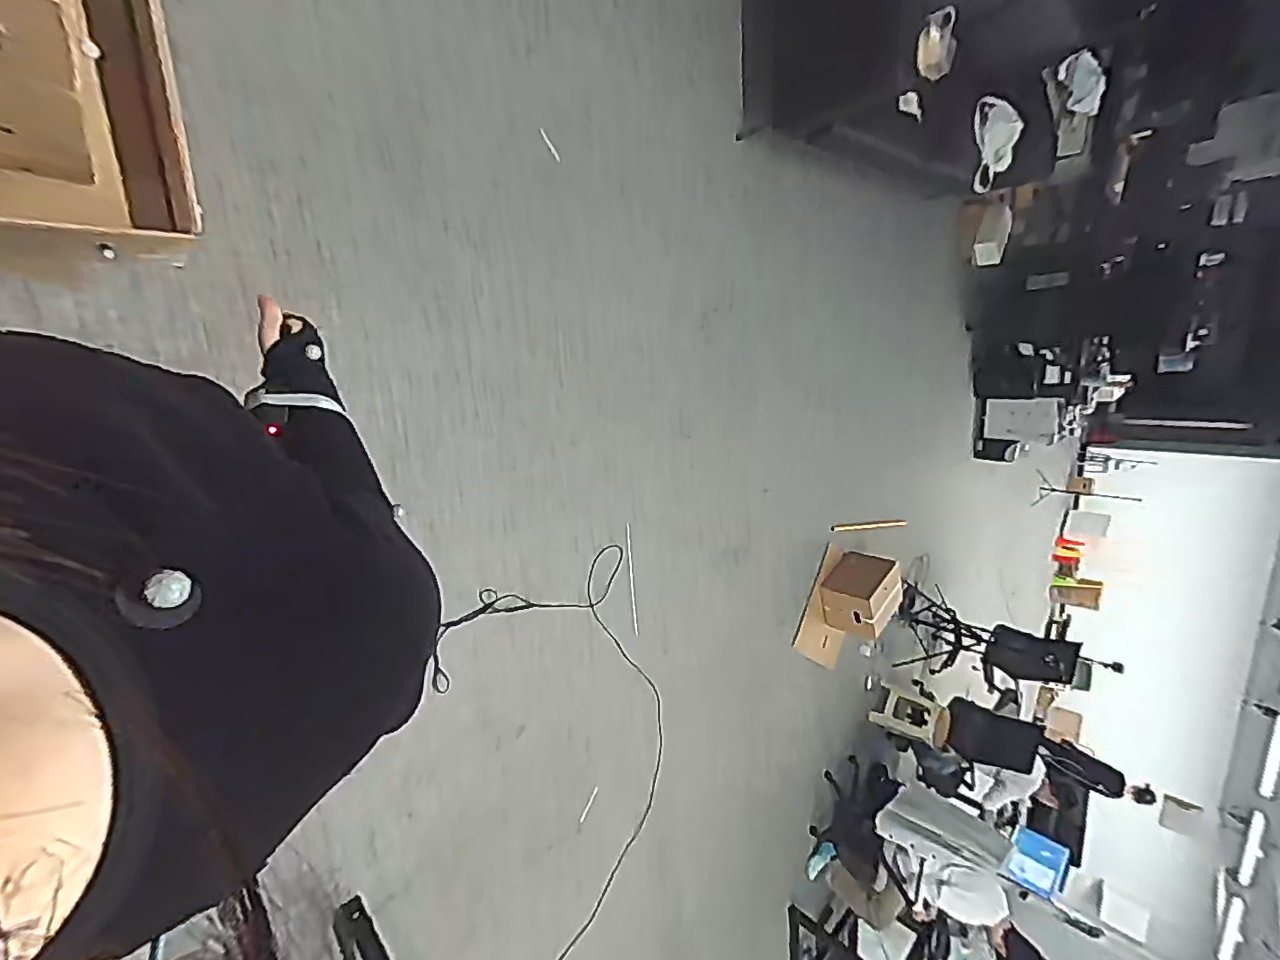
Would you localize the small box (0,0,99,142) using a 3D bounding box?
[{"bbox_3d":[-0.604,-0.435,0.477,0.168,0.176,0.179,-6,102,-43],"label":"small box"}]

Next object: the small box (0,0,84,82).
[{"bbox_3d":[-0.494,-0.414,0.357,0.168,0.176,0.179,-3,99,-43],"label":"small box"}]
